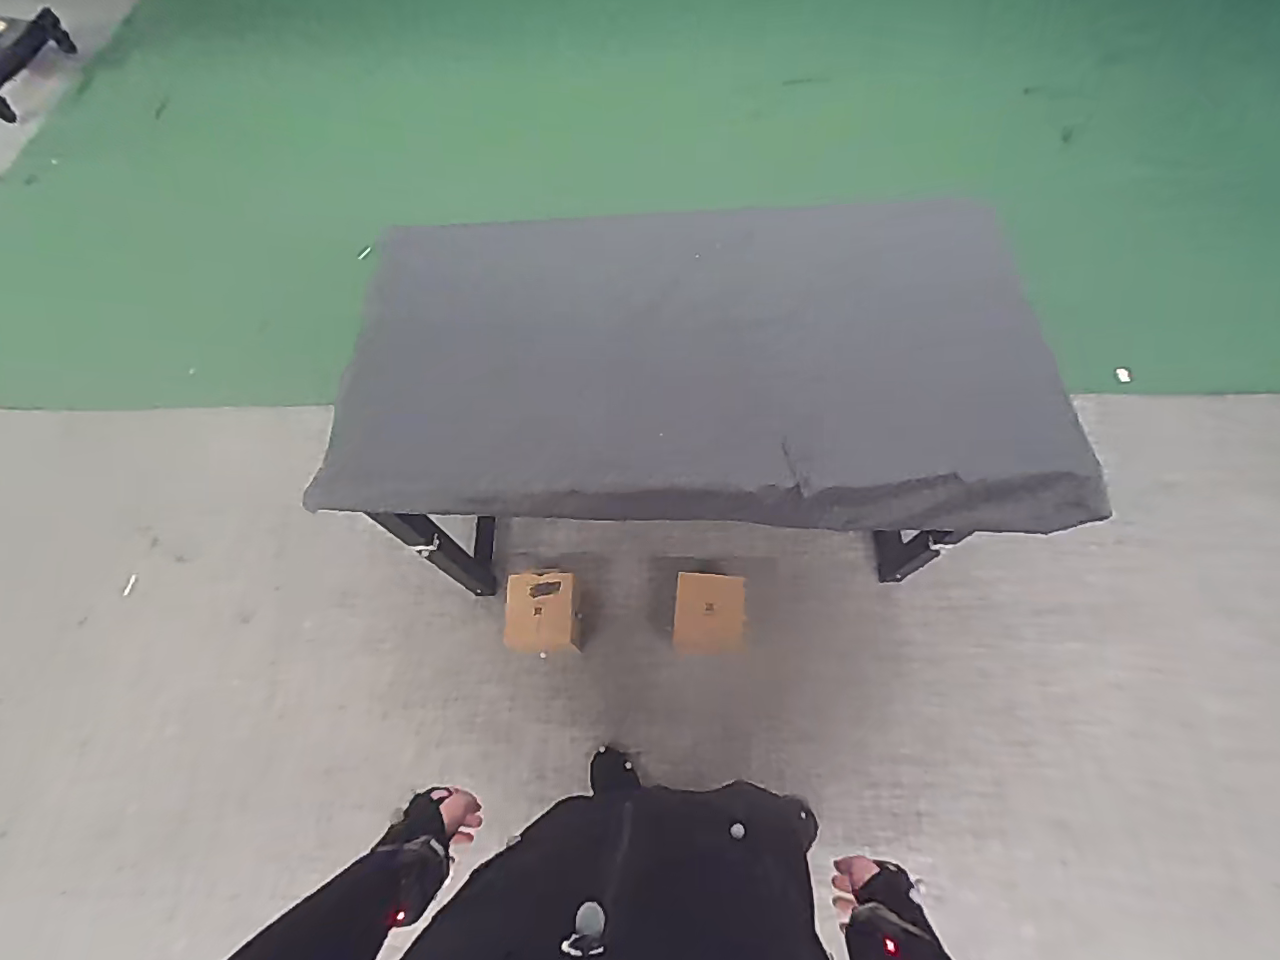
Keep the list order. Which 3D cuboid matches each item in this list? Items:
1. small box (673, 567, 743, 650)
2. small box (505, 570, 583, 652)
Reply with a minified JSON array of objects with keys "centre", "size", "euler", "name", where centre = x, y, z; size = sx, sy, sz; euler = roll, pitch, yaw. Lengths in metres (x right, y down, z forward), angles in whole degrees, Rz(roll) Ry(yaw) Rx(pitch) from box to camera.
[{"centre":[0.172,0.335,1.386],"size":[0.168,0.176,0.179],"euler":[3,64,3],"name":"small box"},{"centre":[-0.242,0.342,1.397],"size":[0.168,0.176,0.179],"euler":[-3,66,2],"name":"small box"}]
